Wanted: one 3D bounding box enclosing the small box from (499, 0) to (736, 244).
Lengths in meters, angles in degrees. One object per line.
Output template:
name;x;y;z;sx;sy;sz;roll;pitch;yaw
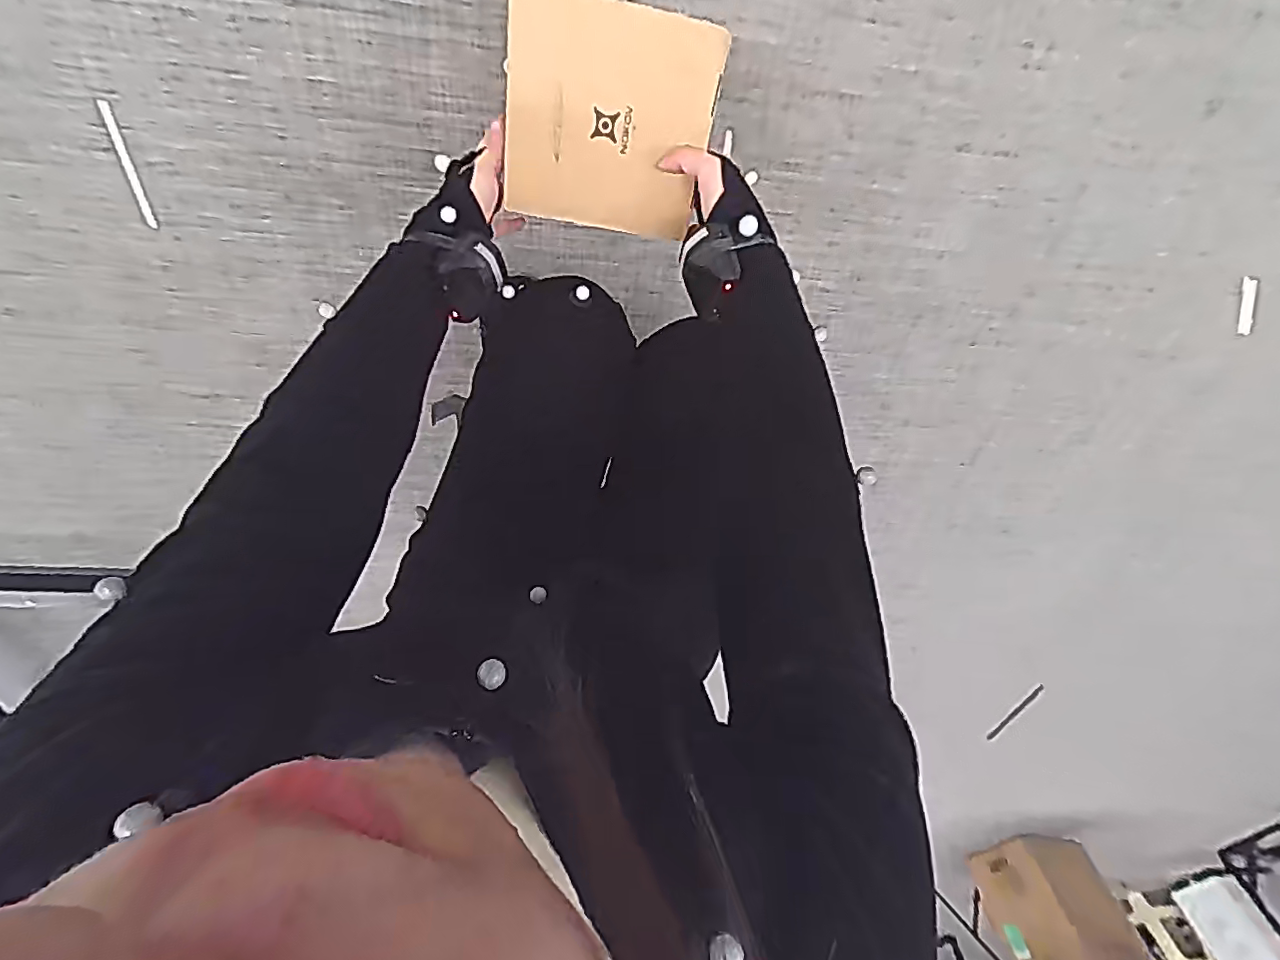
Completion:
small box;-0.031;-0.345;0.510;0.179;0.176;0.168;7;128;-10
